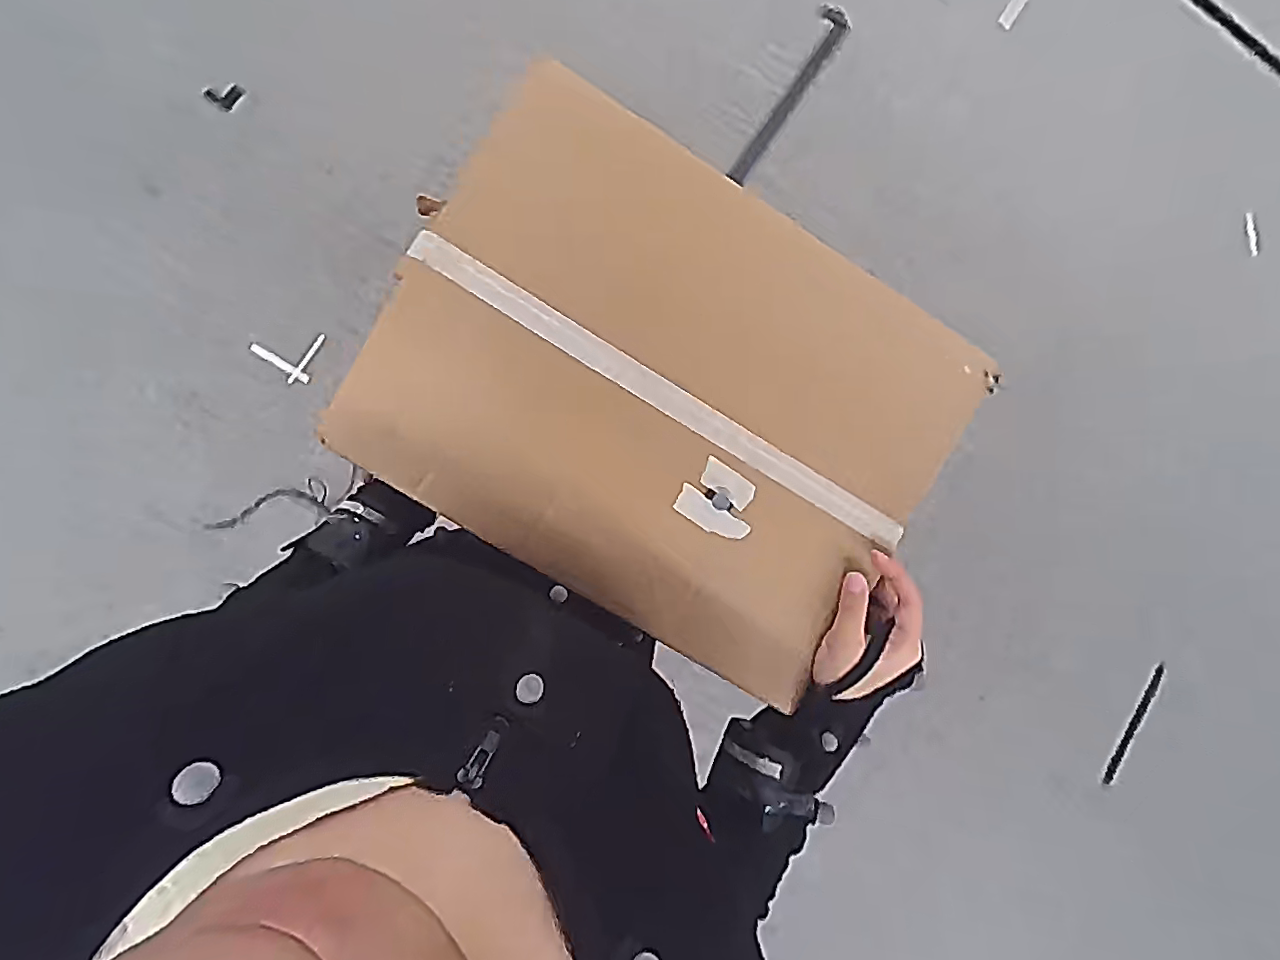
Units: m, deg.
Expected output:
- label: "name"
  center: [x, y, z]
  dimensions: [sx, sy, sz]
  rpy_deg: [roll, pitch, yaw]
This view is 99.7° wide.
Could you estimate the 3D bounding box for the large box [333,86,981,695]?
- label: "large box"
  center: [0.010, -0.064, 0.551]
  dimensions: [0.408, 0.320, 0.320]
  rpy_deg: [30, 91, -6]
